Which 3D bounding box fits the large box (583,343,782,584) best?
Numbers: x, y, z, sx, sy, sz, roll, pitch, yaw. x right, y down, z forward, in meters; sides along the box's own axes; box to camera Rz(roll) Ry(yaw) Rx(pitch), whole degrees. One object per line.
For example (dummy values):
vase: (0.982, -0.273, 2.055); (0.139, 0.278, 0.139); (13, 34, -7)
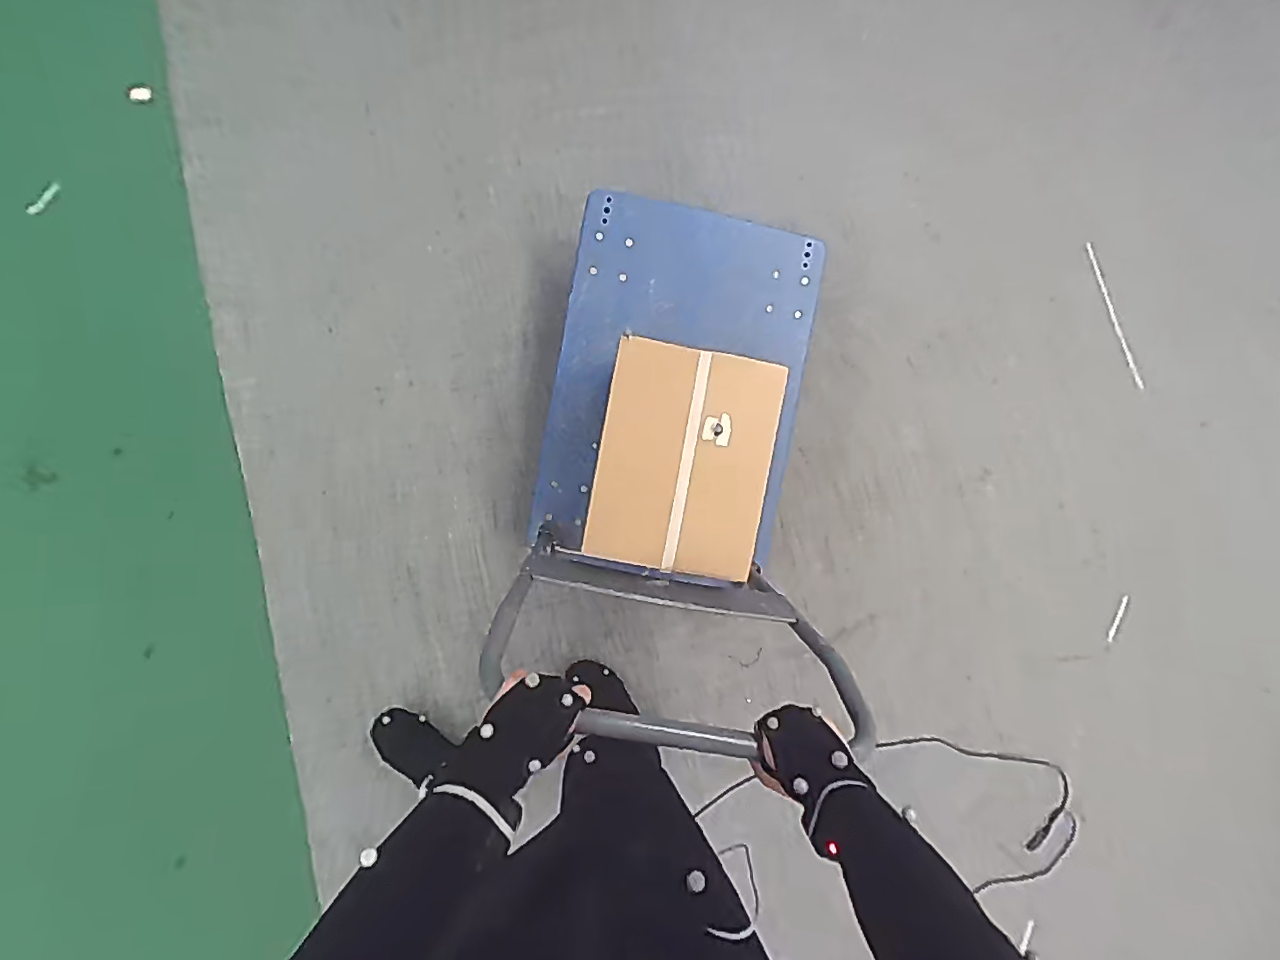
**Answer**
large box: (0.070, -0.029, 1.128); (0.320, 0.320, 0.408); (10, 91, -4)
